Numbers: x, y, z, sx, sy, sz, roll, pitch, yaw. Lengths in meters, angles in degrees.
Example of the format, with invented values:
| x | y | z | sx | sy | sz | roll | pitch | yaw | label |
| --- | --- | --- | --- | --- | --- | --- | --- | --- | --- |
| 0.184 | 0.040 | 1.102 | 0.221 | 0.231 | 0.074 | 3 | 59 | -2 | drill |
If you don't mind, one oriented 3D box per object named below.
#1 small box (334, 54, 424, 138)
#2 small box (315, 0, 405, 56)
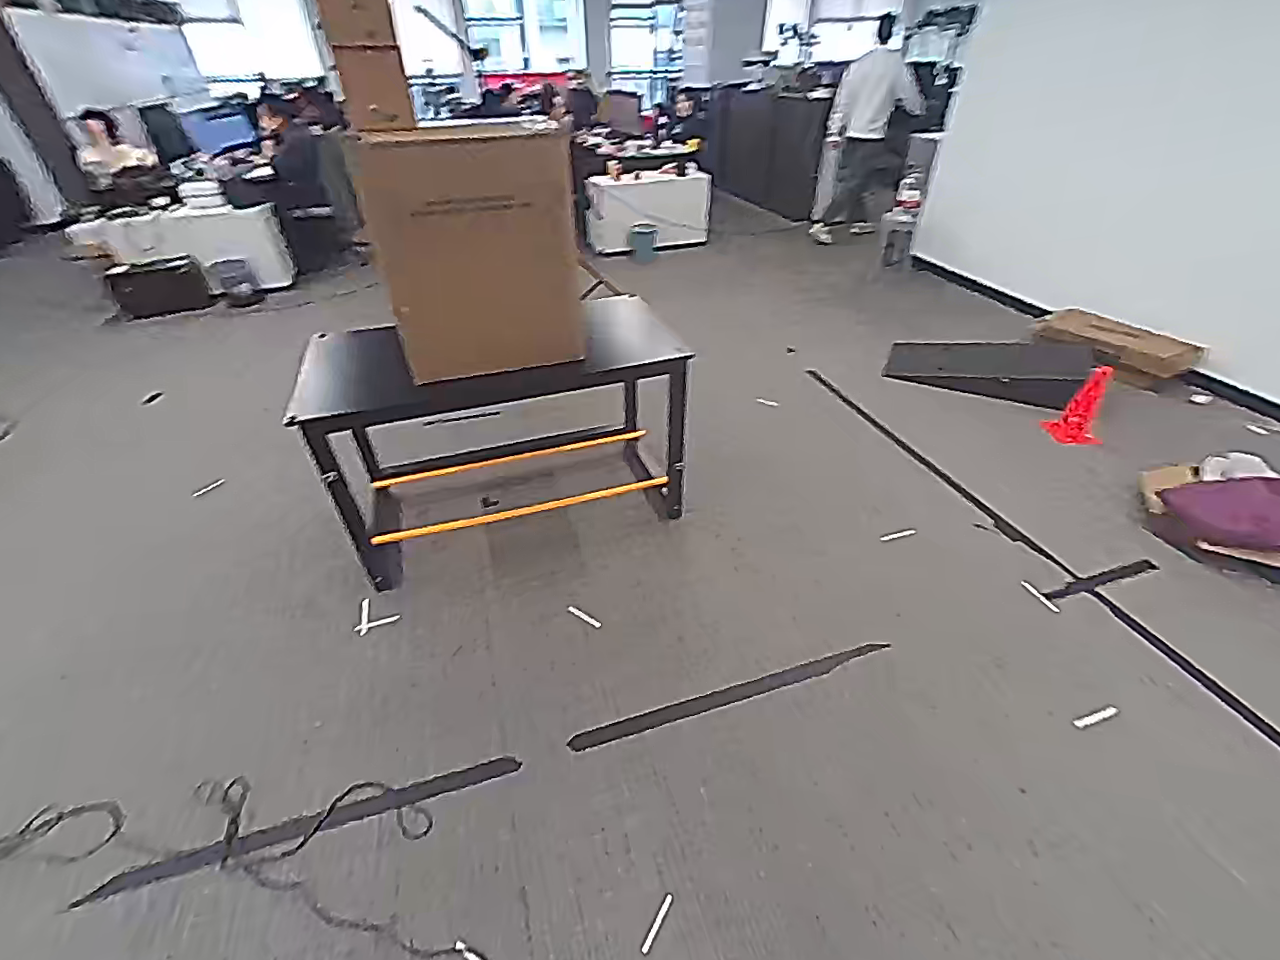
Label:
| x | y | z | sx | sy | sz | roll | pitch | yaw | label |
| --- | --- | --- | --- | --- | --- | --- | --- | --- | --- |
| -0.661 | -0.980 | 1.381 | 0.168 | 0.176 | 0.179 | -15 | 41 | -17 | small box |
| -0.661 | -1.100 | 1.268 | 0.168 | 0.176 | 0.179 | -14 | 40 | -16 | small box |
